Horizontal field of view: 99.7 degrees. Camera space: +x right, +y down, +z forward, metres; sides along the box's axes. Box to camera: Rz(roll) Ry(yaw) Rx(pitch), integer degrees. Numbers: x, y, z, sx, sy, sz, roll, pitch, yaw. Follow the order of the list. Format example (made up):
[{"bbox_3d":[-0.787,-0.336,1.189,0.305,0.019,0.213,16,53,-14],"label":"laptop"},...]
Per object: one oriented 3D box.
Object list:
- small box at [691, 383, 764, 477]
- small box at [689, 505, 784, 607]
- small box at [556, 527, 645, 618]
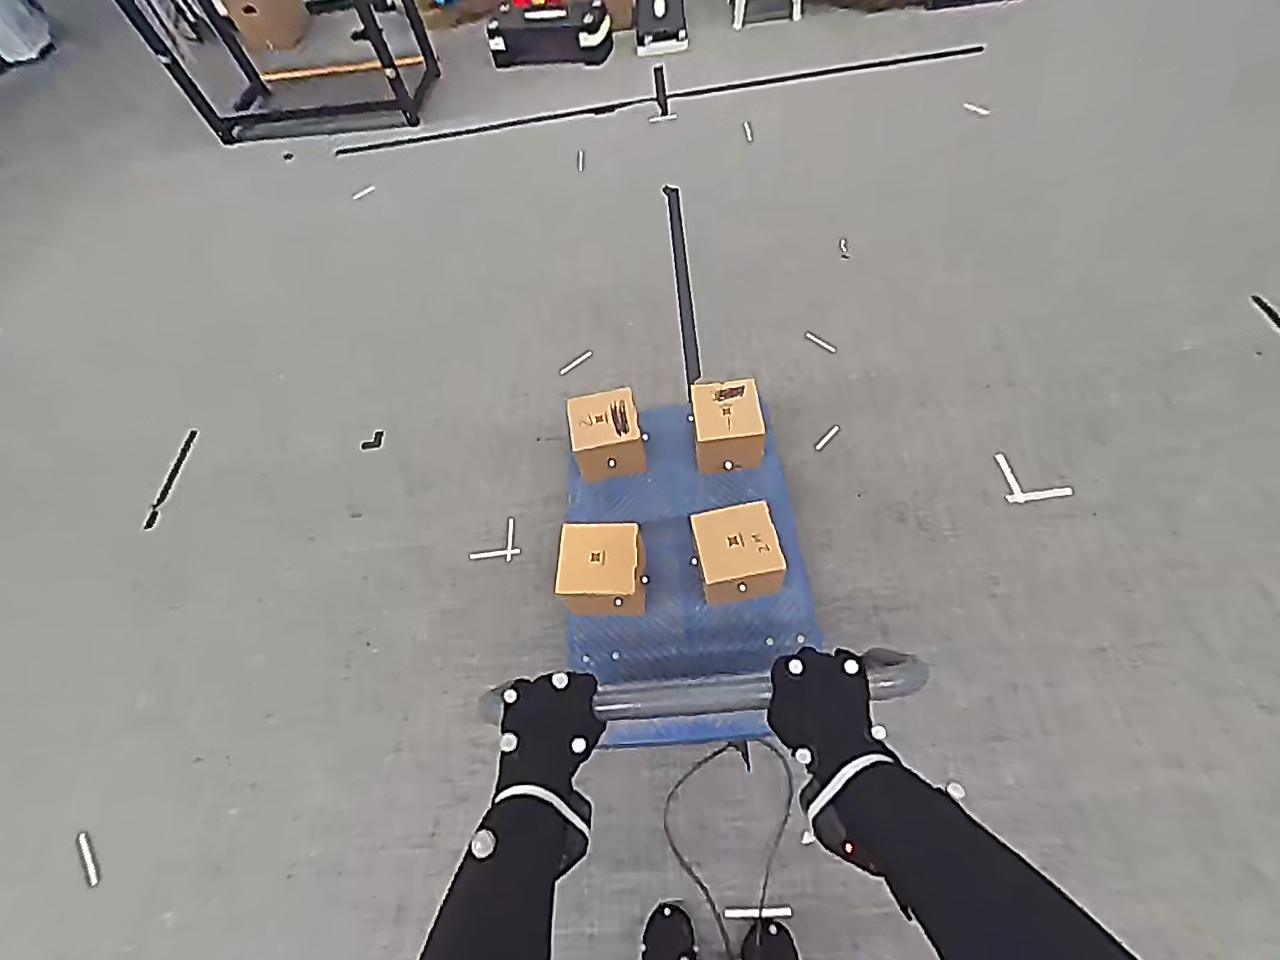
[{"bbox_3d":[0.224,-0.128,1.422,0.168,0.176,0.179,-7,61,4],"label":"small box"},{"bbox_3d":[0.219,0.180,1.246,0.179,0.176,0.168,-12,60,2],"label":"small box"},{"bbox_3d":[-0.085,0.220,1.267,0.179,0.176,0.168,-1,60,5],"label":"small box"}]
